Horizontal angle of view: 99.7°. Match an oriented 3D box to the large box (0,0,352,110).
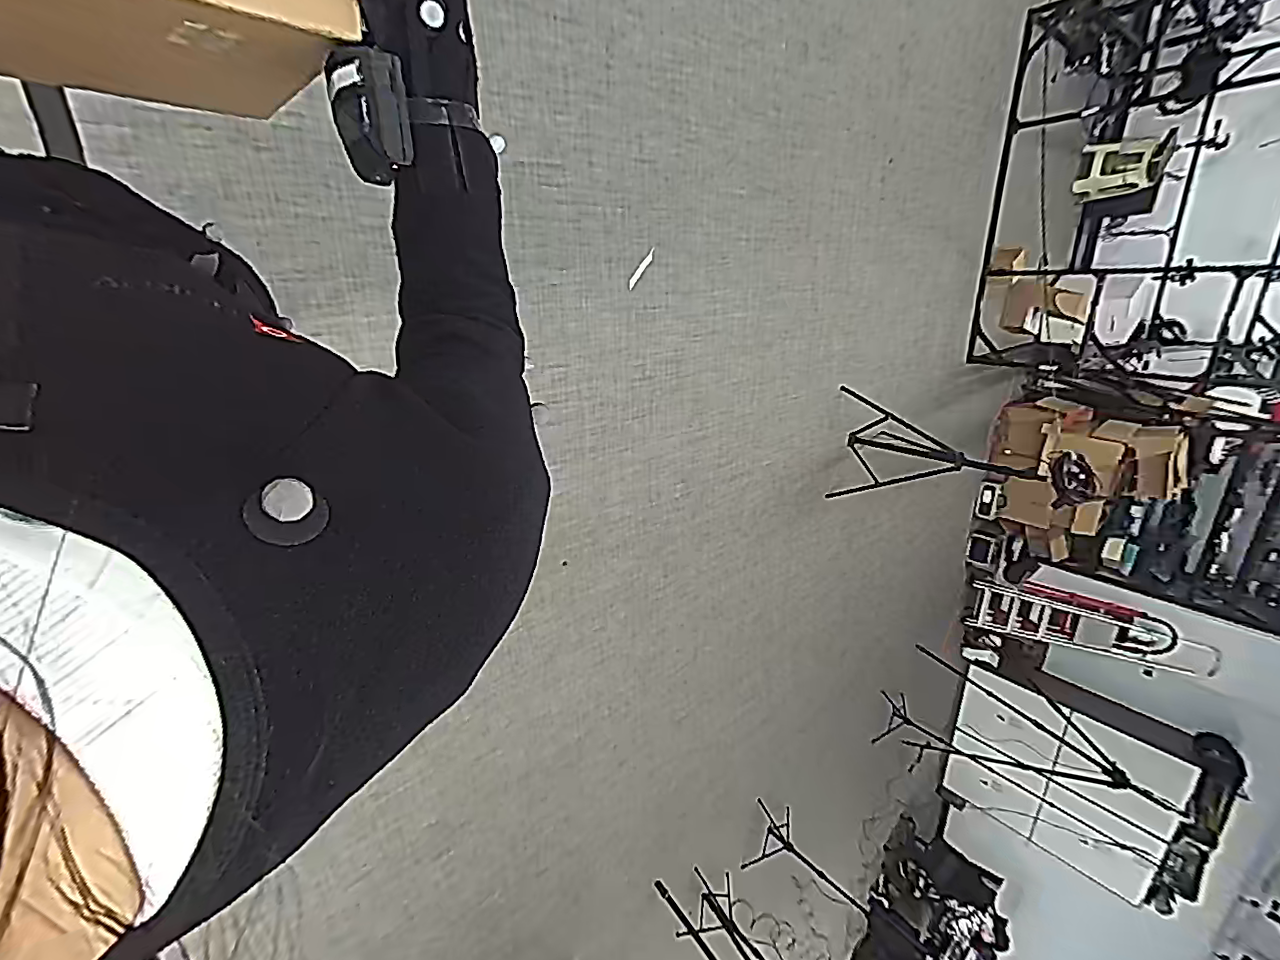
[{"bbox_3d":[-0.415,-0.408,0.247,0.408,0.320,0.320,-17,120,-39],"label":"large box"}]
